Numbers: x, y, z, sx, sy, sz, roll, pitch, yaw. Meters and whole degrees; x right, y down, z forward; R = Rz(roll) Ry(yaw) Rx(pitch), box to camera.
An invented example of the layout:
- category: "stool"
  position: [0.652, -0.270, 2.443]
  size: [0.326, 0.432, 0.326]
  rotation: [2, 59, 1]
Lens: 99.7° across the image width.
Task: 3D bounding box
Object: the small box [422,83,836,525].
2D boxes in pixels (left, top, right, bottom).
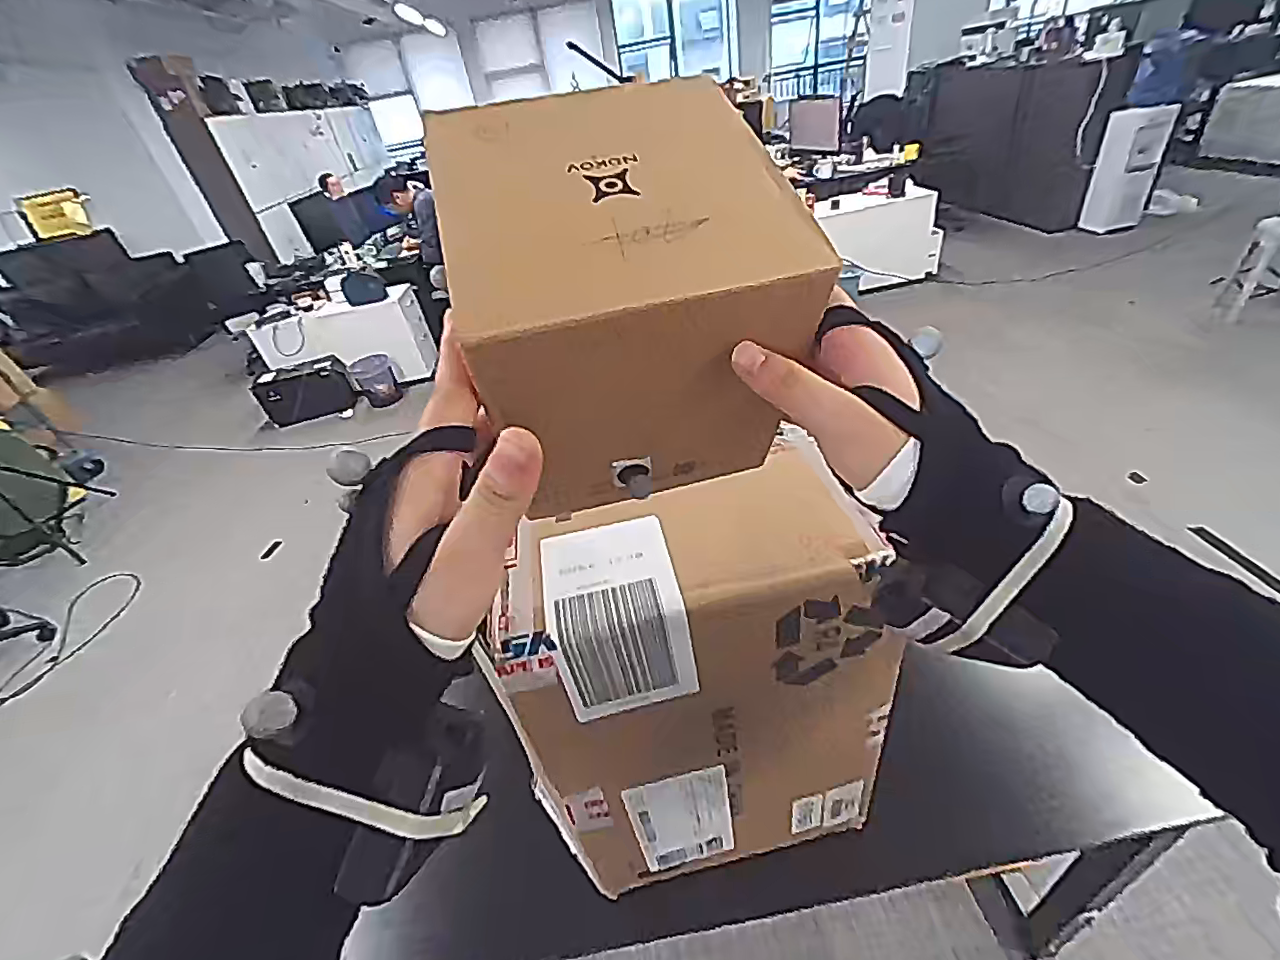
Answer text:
- category: "small box"
  position: [-0.017, -0.098, 0.329]
  size: [0.168, 0.176, 0.179]
  rotation: [-15, 62, -8]
